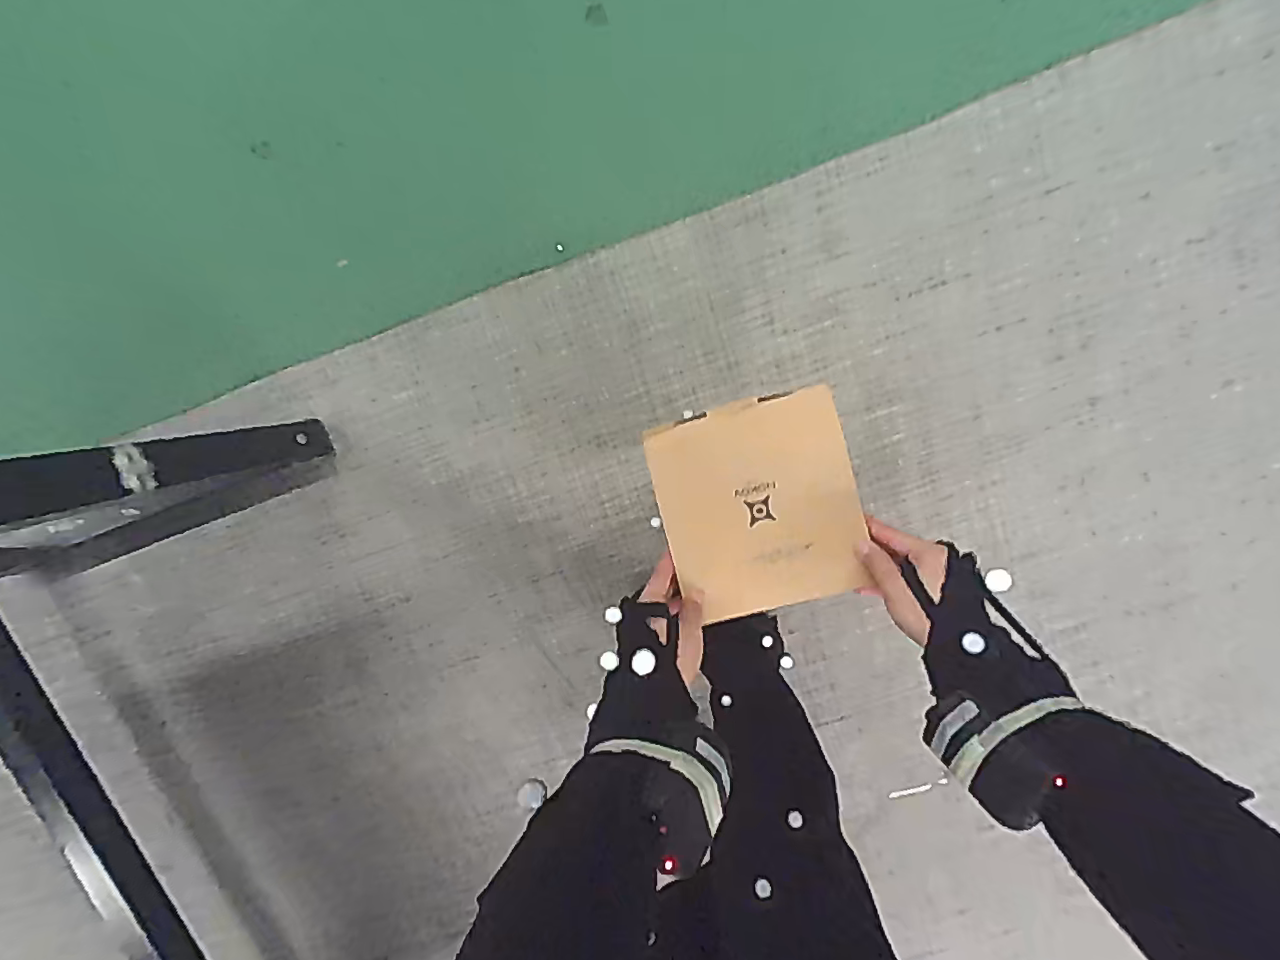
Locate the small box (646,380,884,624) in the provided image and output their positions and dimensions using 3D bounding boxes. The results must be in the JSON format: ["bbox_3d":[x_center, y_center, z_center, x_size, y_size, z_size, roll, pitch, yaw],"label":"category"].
[{"bbox_3d":[0.110,0.019,0.533,0.168,0.176,0.179,-16,91,6],"label":"small box"}]
